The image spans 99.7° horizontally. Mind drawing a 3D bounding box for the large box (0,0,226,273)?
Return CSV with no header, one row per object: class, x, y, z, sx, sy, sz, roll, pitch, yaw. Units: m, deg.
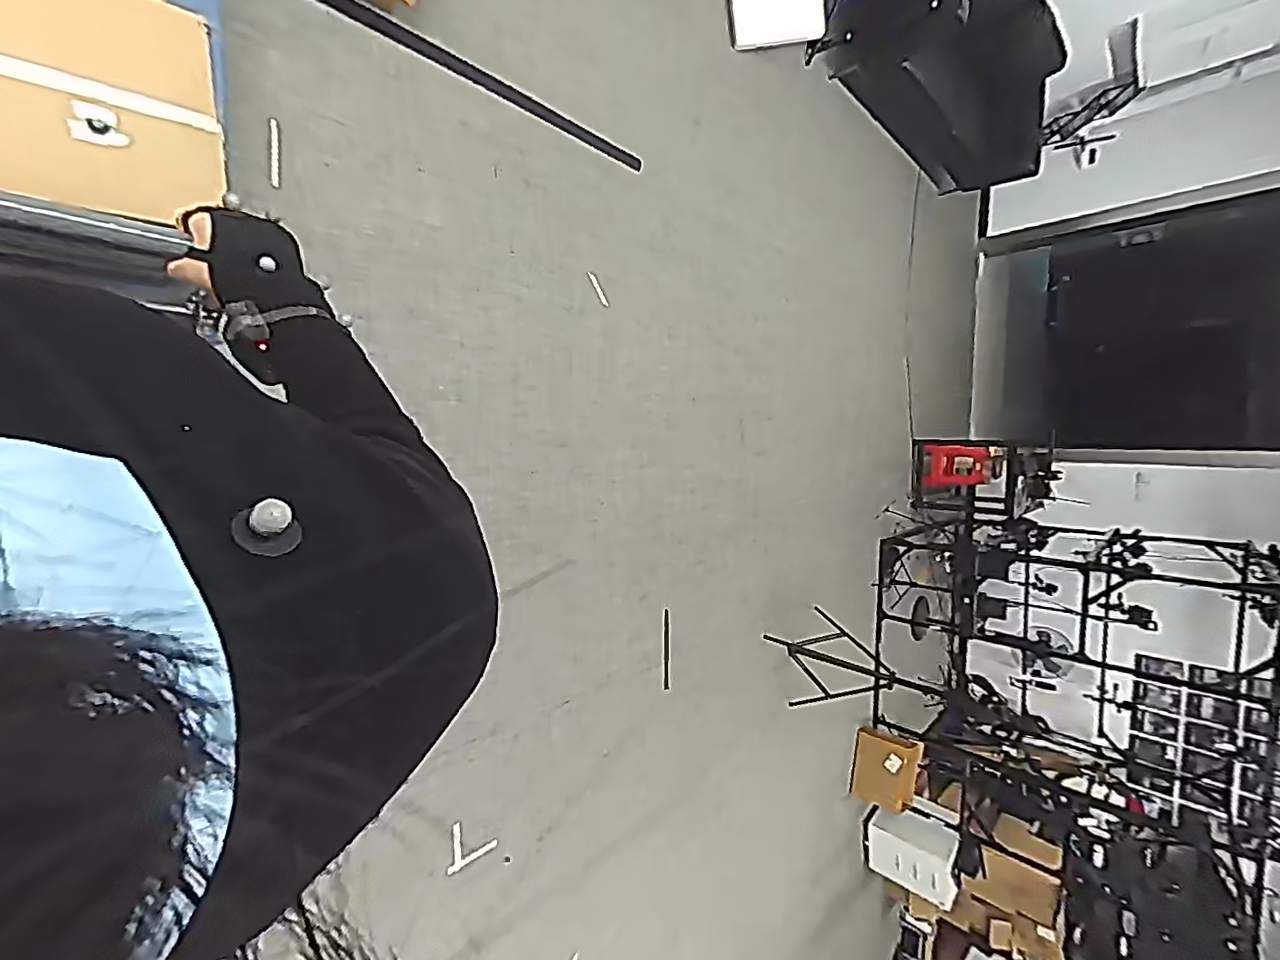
large box,-0.895,-0.516,0.779,0.408,0.320,0.320,-9,100,-47
